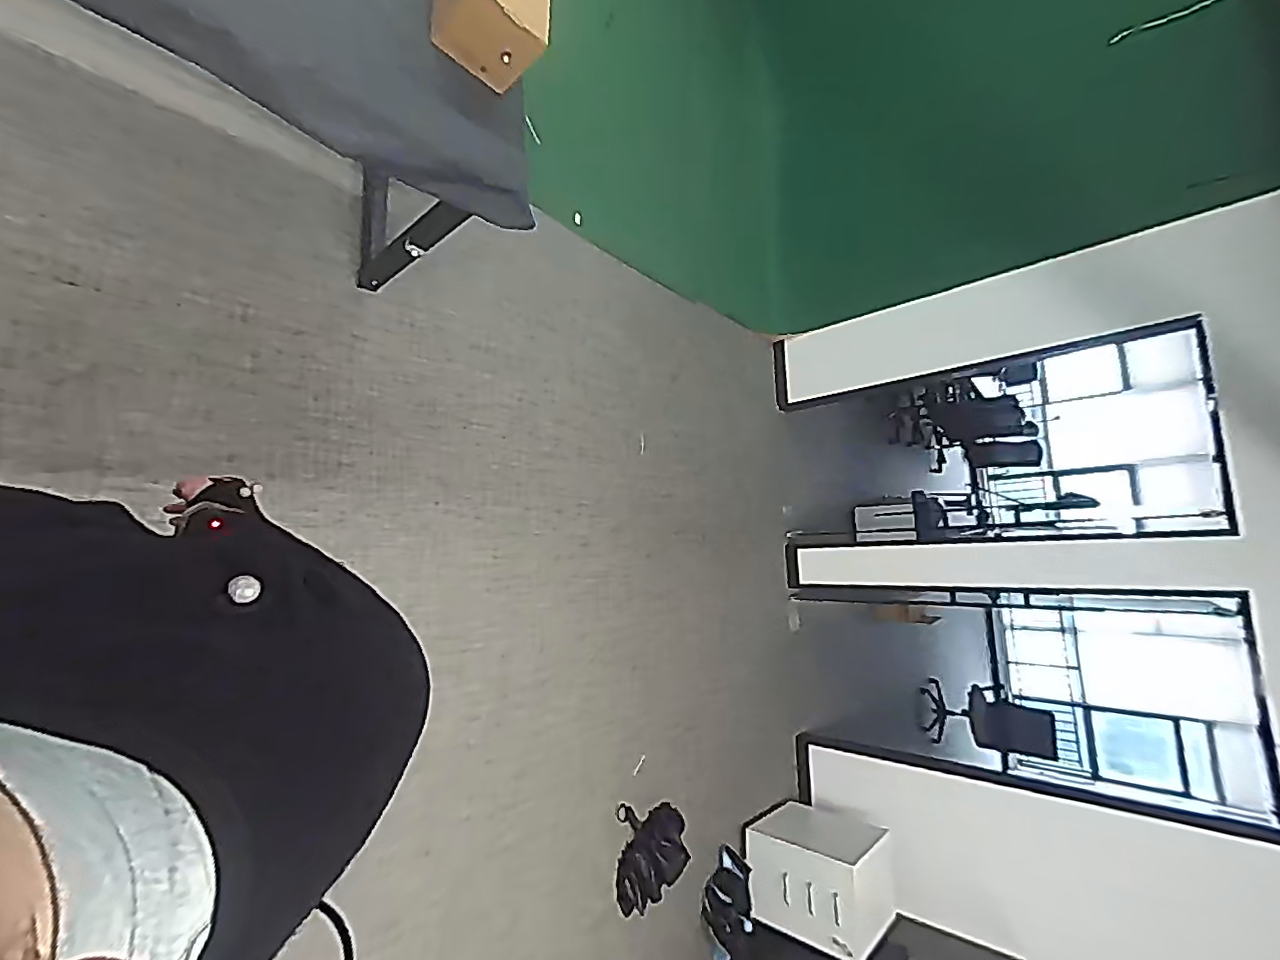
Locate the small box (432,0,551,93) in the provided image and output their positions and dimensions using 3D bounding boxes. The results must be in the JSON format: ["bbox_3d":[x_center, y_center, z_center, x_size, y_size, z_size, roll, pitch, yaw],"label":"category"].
[{"bbox_3d":[-0.296,-0.931,1.075,0.168,0.176,0.179,11,74,-48],"label":"small box"}]
